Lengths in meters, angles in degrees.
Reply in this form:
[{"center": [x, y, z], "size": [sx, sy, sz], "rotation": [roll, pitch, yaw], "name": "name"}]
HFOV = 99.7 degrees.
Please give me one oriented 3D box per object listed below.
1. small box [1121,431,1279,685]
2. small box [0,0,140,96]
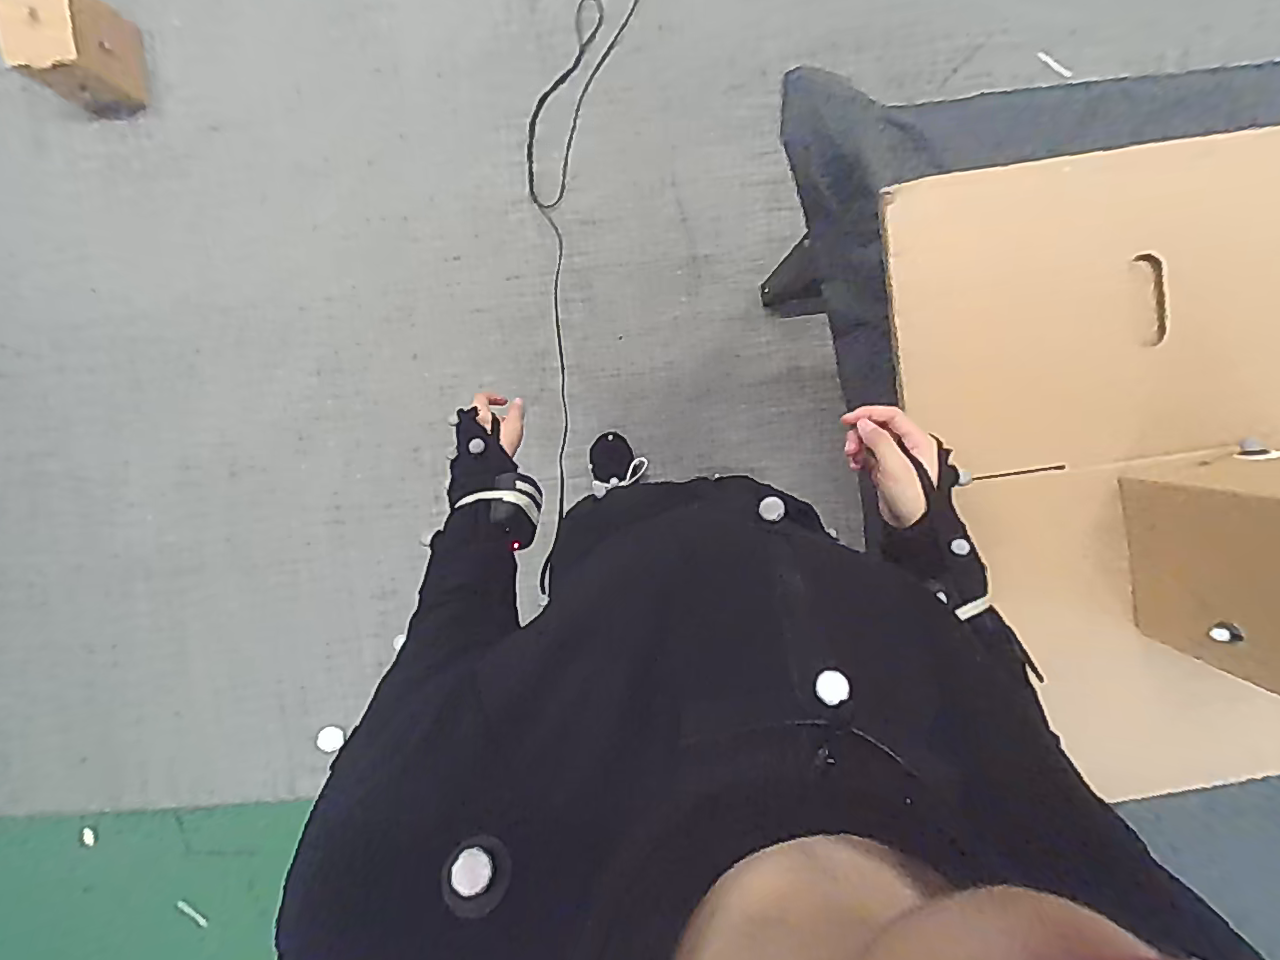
[{"center": [0.577, 0.062, 0.470], "size": [0.168, 0.176, 0.179], "rotation": [-15, 98, -1], "name": "small box"}, {"center": [-1.259, -0.978, 1.190], "size": [0.168, 0.176, 0.179], "rotation": [-2, 98, 1], "name": "small box"}]
